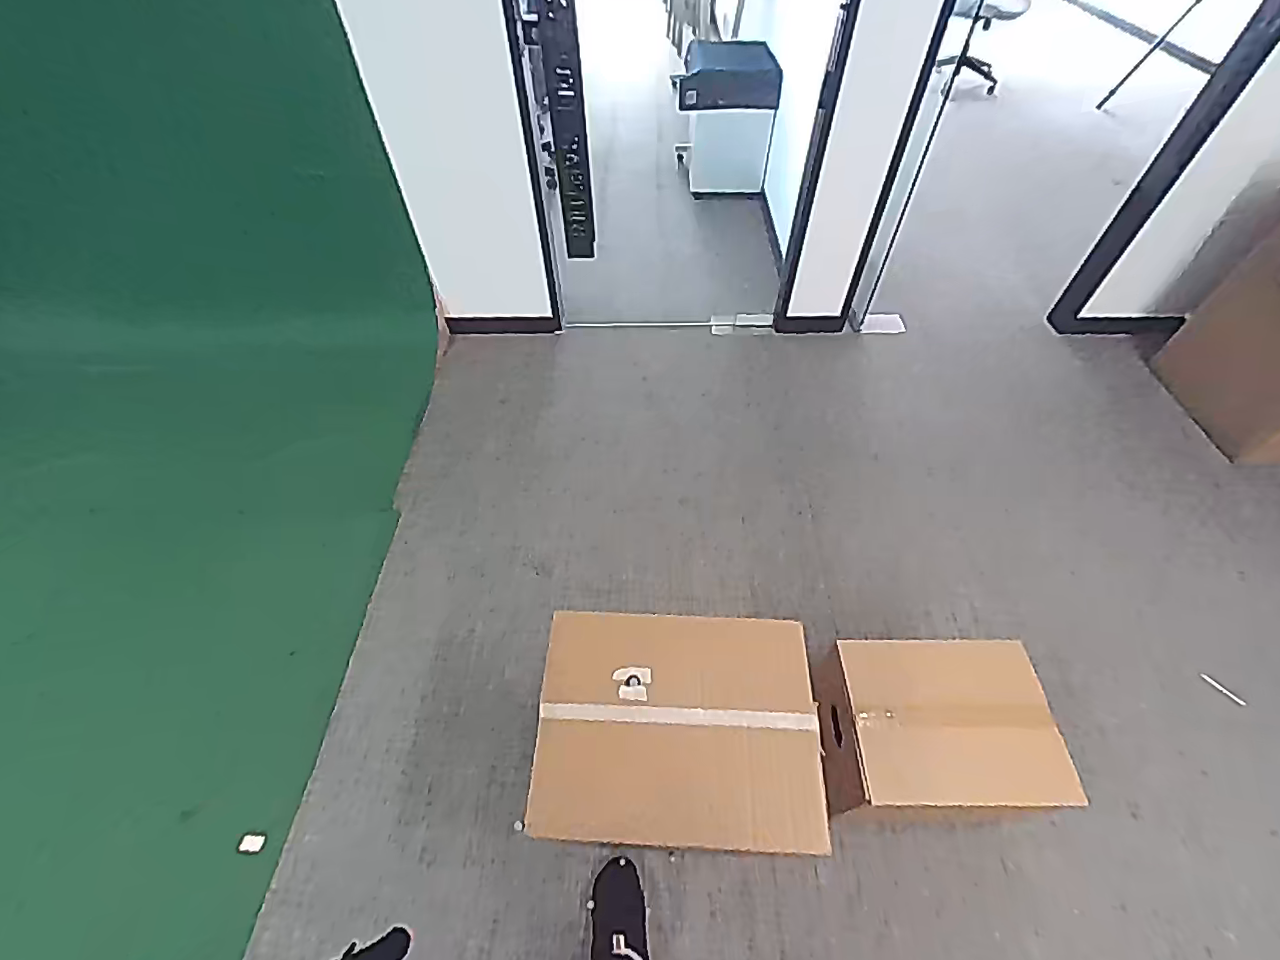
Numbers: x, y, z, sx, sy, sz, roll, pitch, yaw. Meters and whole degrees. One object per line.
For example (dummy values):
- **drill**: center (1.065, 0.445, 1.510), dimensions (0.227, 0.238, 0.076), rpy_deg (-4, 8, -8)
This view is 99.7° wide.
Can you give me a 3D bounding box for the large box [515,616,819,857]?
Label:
- **large box**: center (0.044, 0.433, 0.905), dimensions (0.408, 0.320, 0.320), rpy_deg (2, 54, 3)
